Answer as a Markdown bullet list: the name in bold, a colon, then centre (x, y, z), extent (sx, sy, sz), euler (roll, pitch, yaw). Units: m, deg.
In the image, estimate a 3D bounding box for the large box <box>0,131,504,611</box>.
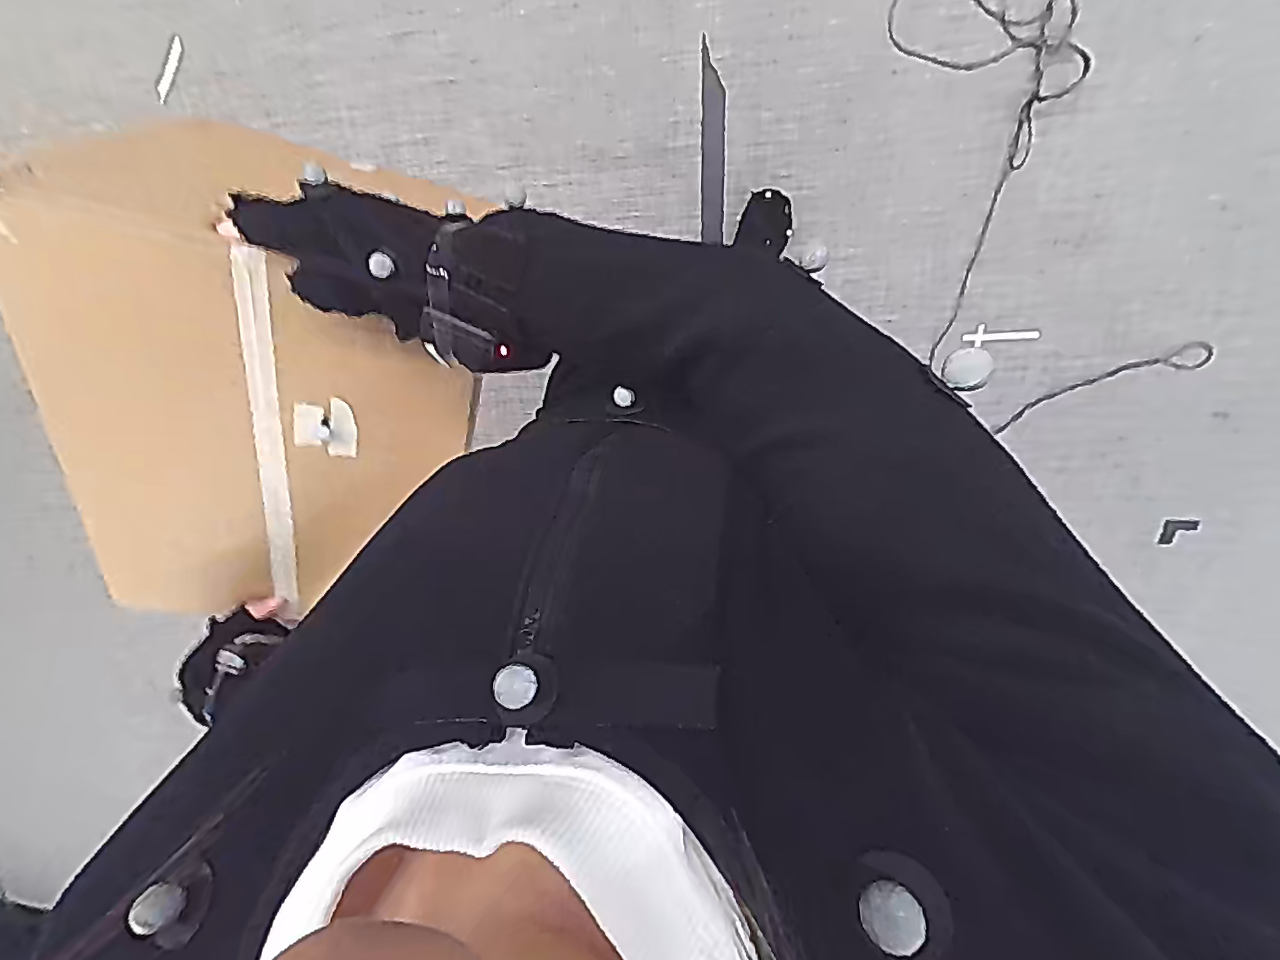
- **large box**: centre (-0.338, -0.108, 0.608), extent (0.320, 0.320, 0.408), euler (7, 126, -17)
